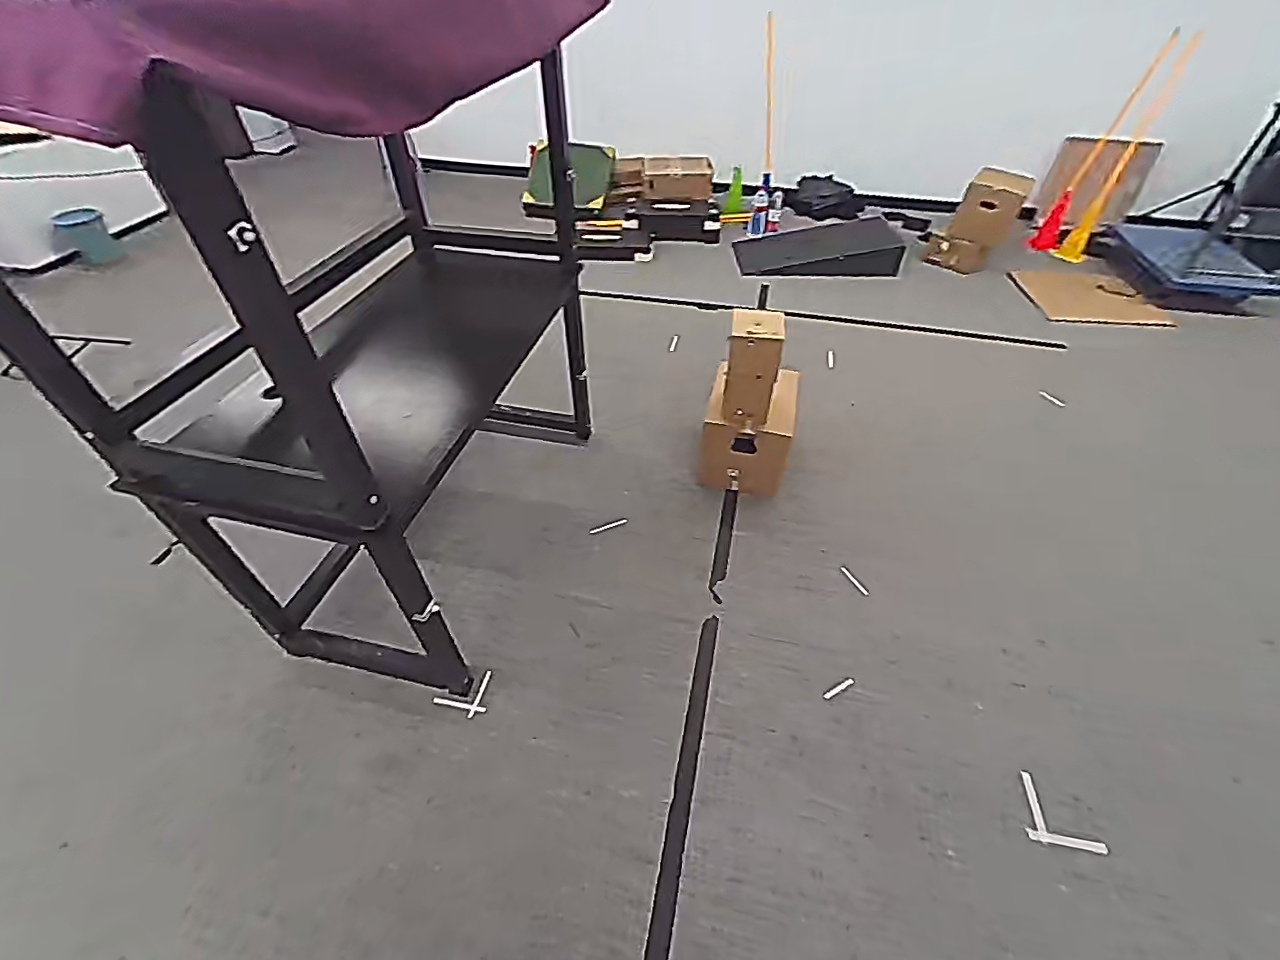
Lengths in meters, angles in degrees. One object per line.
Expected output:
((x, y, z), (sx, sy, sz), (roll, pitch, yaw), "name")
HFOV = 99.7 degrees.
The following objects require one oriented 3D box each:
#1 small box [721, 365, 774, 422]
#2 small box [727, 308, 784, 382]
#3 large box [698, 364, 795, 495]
((0.380, -0.330, 1.901), (0.168, 0.176, 0.179), (9, 46, 10), "small box")
((0.380, -0.445, 1.784), (0.168, 0.176, 0.179), (6, 45, 8), "small box")
((0.417, -0.201, 2.117), (0.320, 0.320, 0.408), (11, 46, 9), "large box")
